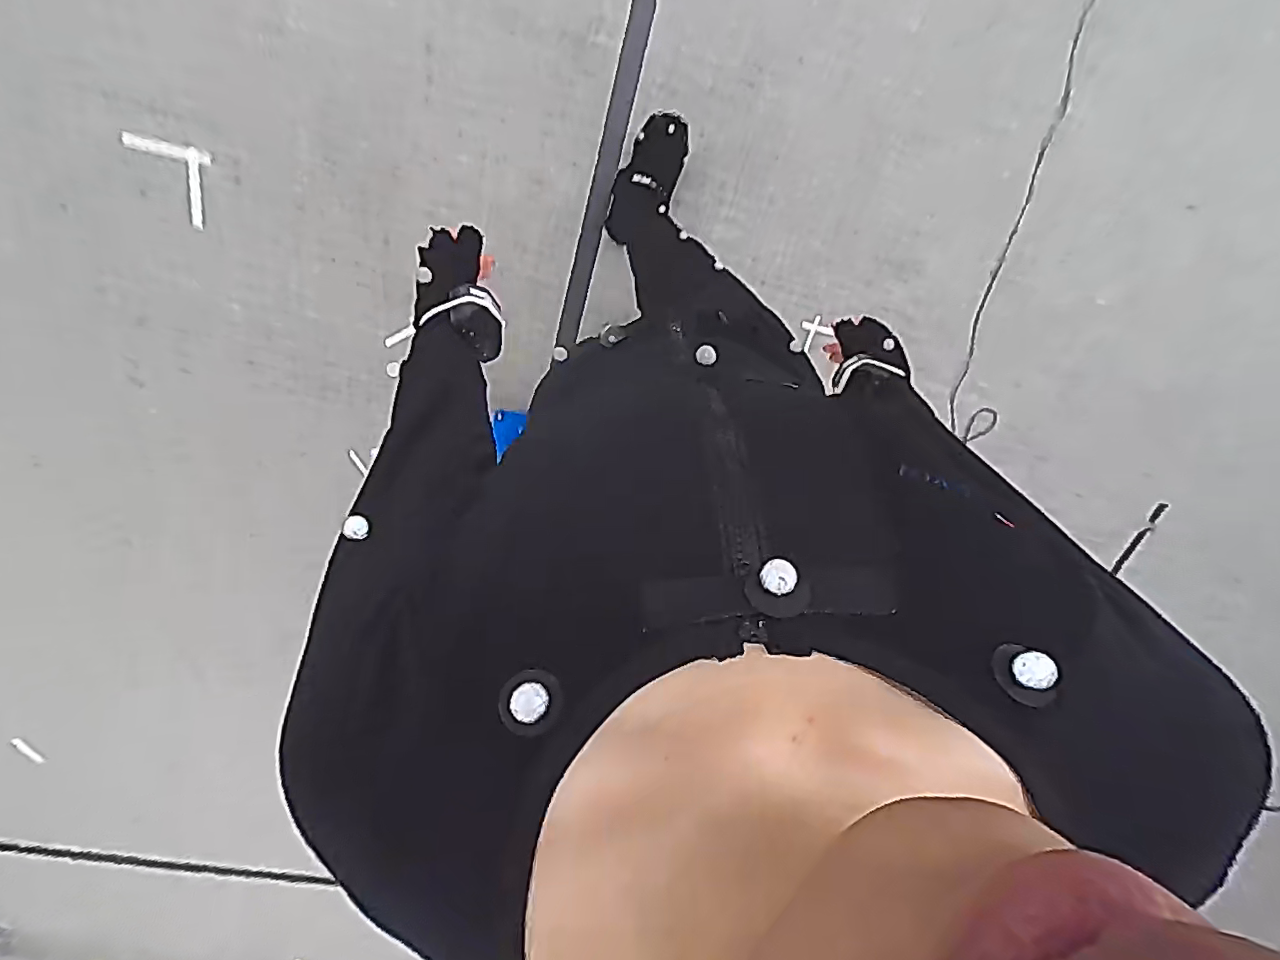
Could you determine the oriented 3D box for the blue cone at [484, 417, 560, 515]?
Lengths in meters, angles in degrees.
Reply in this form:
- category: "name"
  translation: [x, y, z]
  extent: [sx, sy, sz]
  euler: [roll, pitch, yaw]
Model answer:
- category: "blue cone"
  translation: [-0.309, -0.010, 1.307]
  extent: [0.192, 0.380, 0.193]
  euler: [10, 111, -7]
